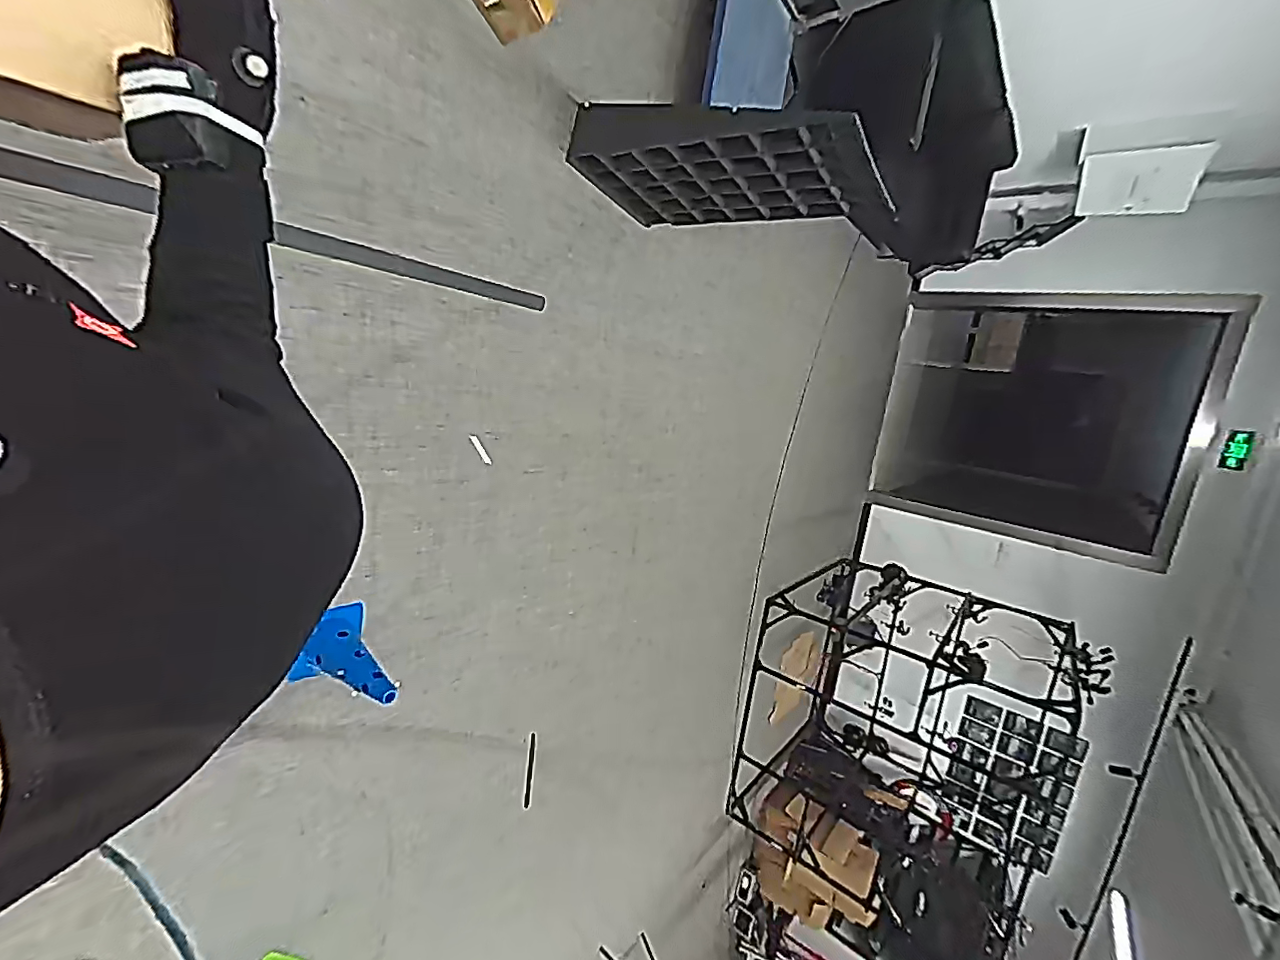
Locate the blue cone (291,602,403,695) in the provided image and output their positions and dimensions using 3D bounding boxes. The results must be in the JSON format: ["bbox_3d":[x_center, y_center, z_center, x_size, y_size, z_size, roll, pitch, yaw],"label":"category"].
[{"bbox_3d":[-0.775,0.493,1.475,0.192,0.380,0.193,-1,104,-55],"label":"blue cone"}]

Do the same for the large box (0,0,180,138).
[{"bbox_3d":[-0.553,-0.429,0.285,0.408,0.320,0.320,-10,117,-54],"label":"large box"}]

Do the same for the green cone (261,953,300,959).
[{"bbox_3d":[-1.015,1.597,1.544,0.202,0.368,0.200,-50,139,-32],"label":"green cone"}]
